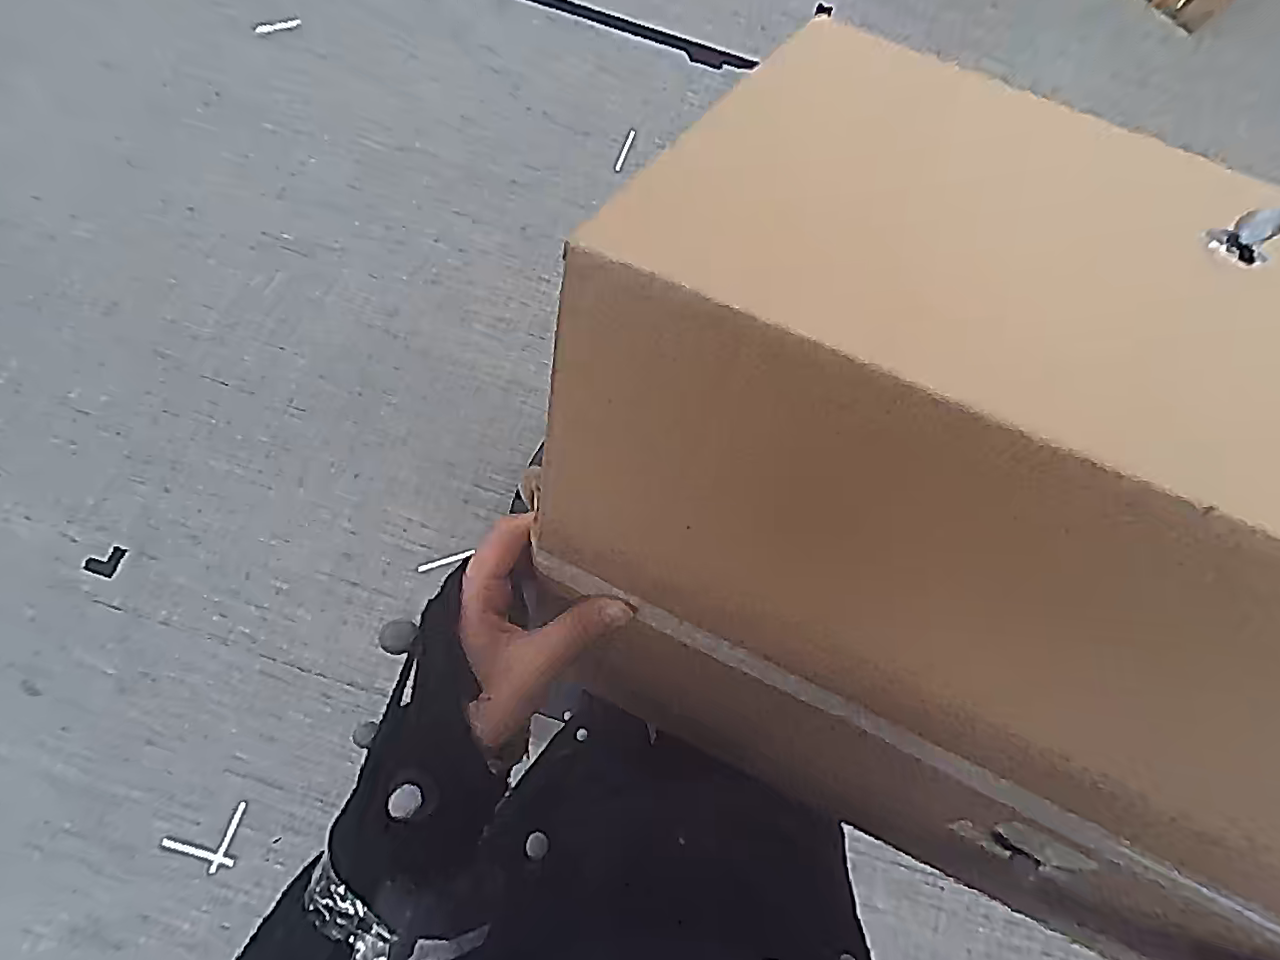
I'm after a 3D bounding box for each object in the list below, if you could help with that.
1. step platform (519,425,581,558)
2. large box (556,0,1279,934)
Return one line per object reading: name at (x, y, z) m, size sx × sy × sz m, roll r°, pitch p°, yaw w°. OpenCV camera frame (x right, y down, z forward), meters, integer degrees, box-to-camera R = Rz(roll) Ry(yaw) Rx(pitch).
step platform at (0.076, 0.139, 1.228) m, size 0.684 × 0.204 × 0.286 m, roll 25°, pitch 76°, yaw 0°
large box at (0.203, -0.017, 0.312) m, size 0.408 × 0.320 × 0.320 m, roll 24°, pitch 53°, yaw 5°
